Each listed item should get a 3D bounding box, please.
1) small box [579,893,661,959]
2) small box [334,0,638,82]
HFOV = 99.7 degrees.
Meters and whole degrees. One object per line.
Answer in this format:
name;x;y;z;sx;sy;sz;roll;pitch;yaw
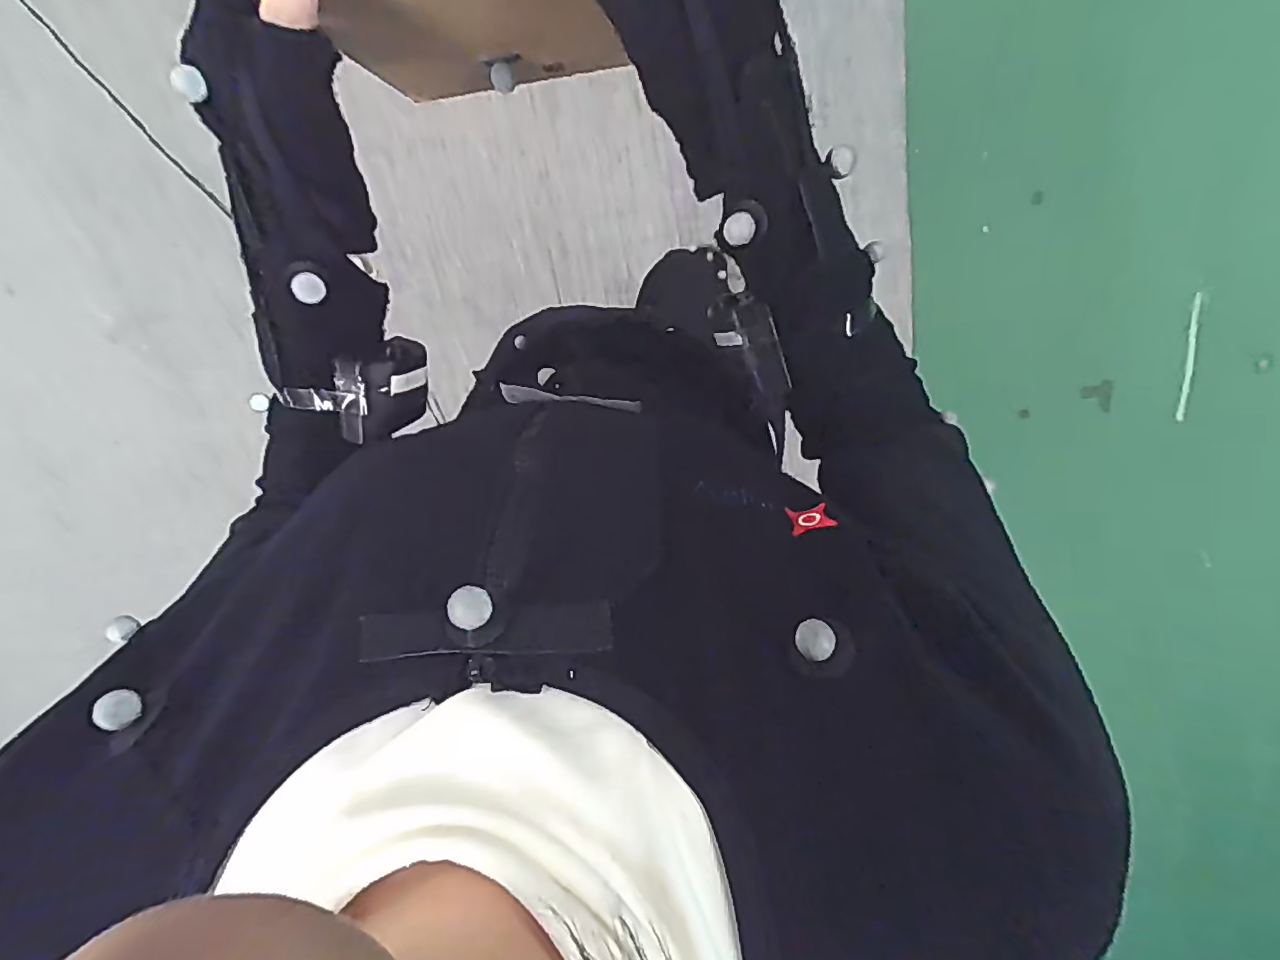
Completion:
small box;-0.045;1.181;1.346;0.168;0.176;0.179;-17;109;5
small box;-0.093;-0.334;0.263;0.168;0.176;0.179;-6;111;5
